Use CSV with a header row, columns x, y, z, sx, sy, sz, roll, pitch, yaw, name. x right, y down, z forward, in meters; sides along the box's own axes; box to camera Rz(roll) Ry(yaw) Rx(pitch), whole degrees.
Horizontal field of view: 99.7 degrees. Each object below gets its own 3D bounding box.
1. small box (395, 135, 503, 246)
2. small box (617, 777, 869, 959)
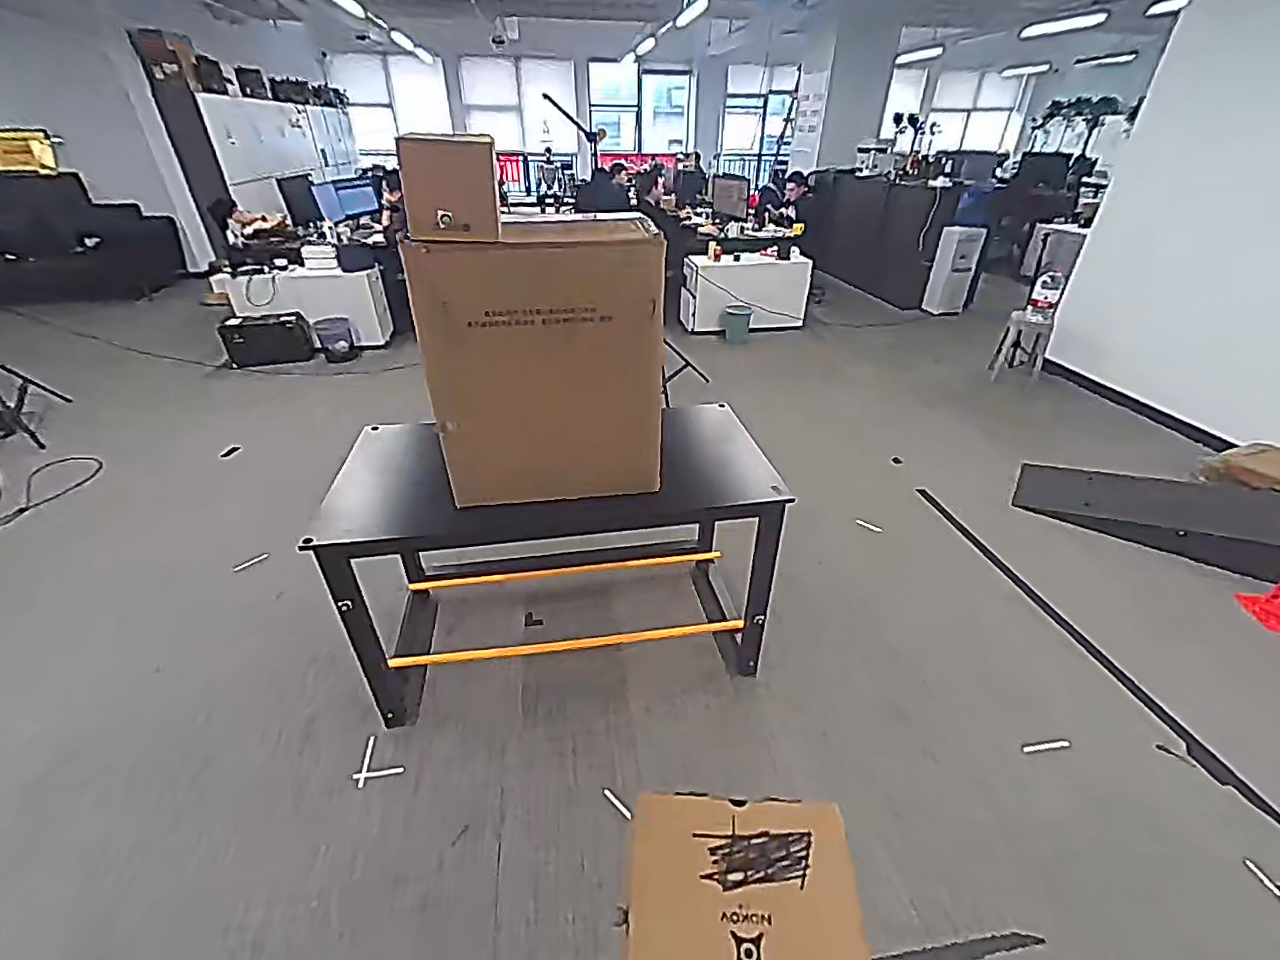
x,y,z,sx,sy,sz,roll,pitch,yaw,name
-0.360,-0.562,1.047,0.168,0.176,0.179,-5,35,-11,small box
0.067,0.362,0.427,0.168,0.176,0.179,4,44,-1,small box
